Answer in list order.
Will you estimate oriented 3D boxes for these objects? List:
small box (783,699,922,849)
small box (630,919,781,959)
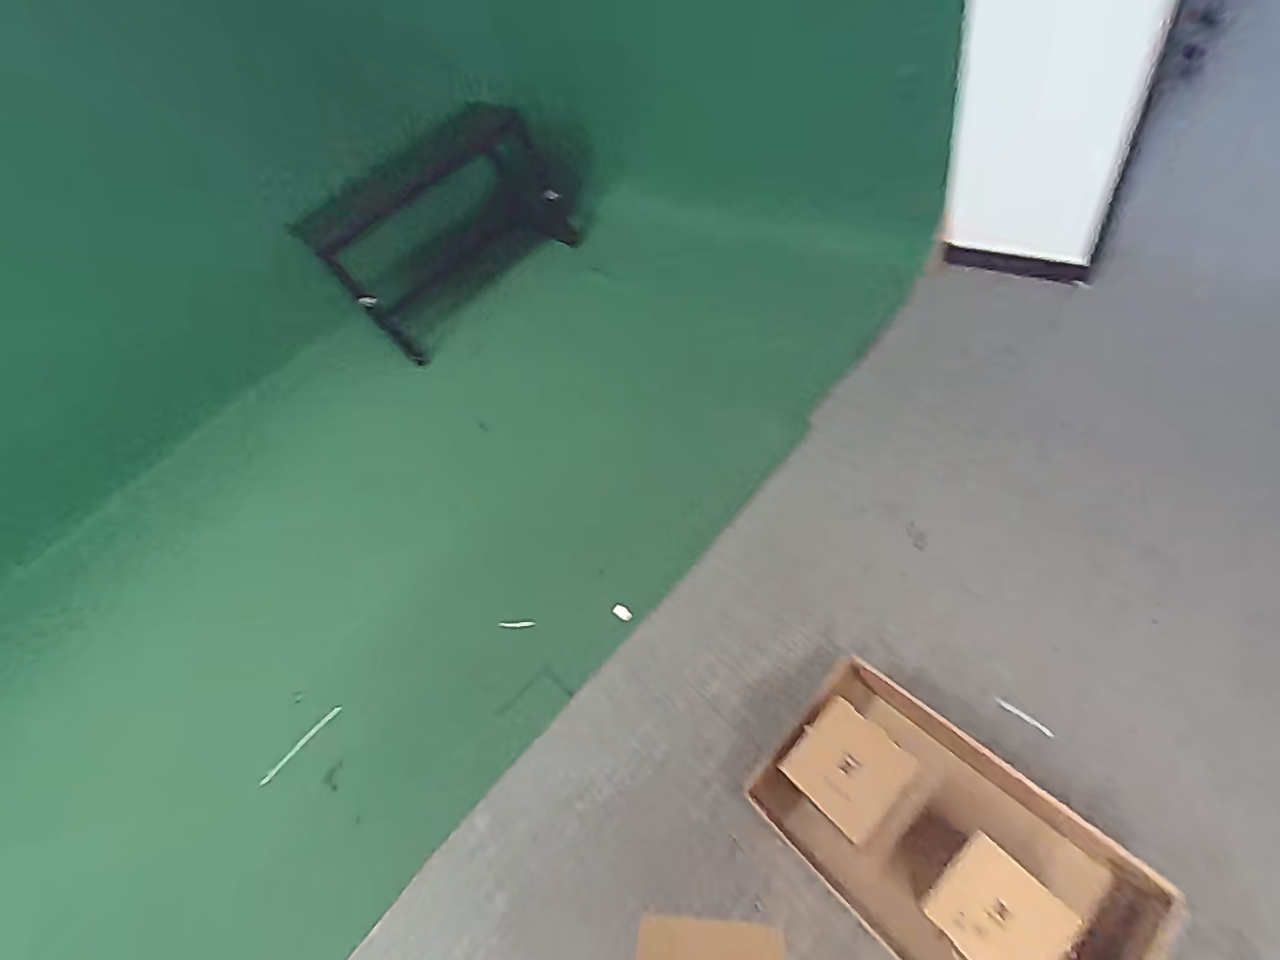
[{"bbox_3d":[0.390,0.548,1.007,0.179,0.176,0.168,-43,51,-12],"label":"small box"},{"bbox_3d":[0.069,0.610,0.559,0.168,0.176,0.179,-3,17,9],"label":"small box"}]
